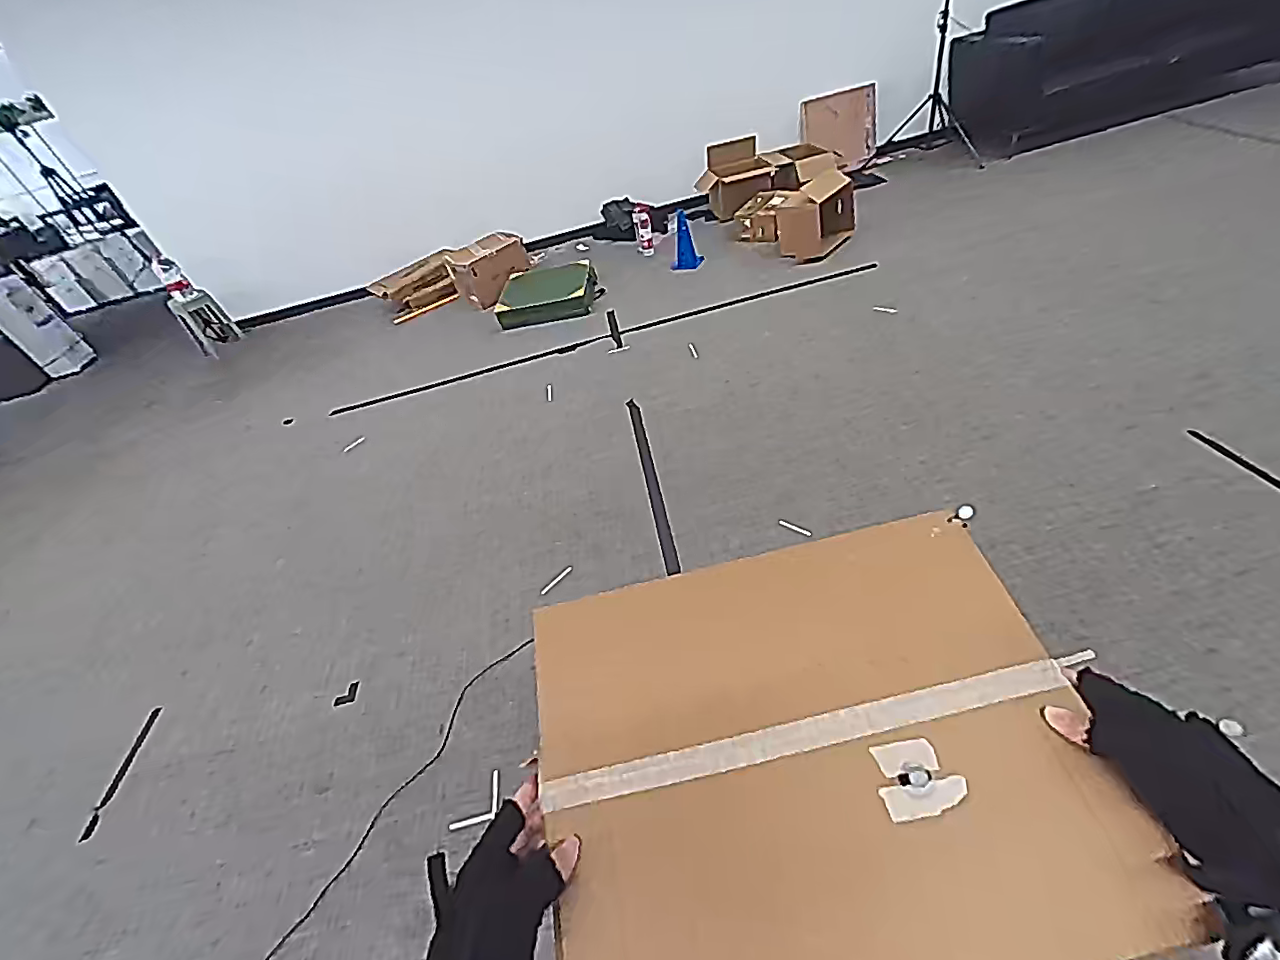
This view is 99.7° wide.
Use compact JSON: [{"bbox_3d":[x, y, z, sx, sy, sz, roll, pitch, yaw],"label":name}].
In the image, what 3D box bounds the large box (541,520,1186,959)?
[{"bbox_3d":[0.146,0.293,0.546,0.408,0.320,0.320,-14,53,1],"label":"large box"}]
